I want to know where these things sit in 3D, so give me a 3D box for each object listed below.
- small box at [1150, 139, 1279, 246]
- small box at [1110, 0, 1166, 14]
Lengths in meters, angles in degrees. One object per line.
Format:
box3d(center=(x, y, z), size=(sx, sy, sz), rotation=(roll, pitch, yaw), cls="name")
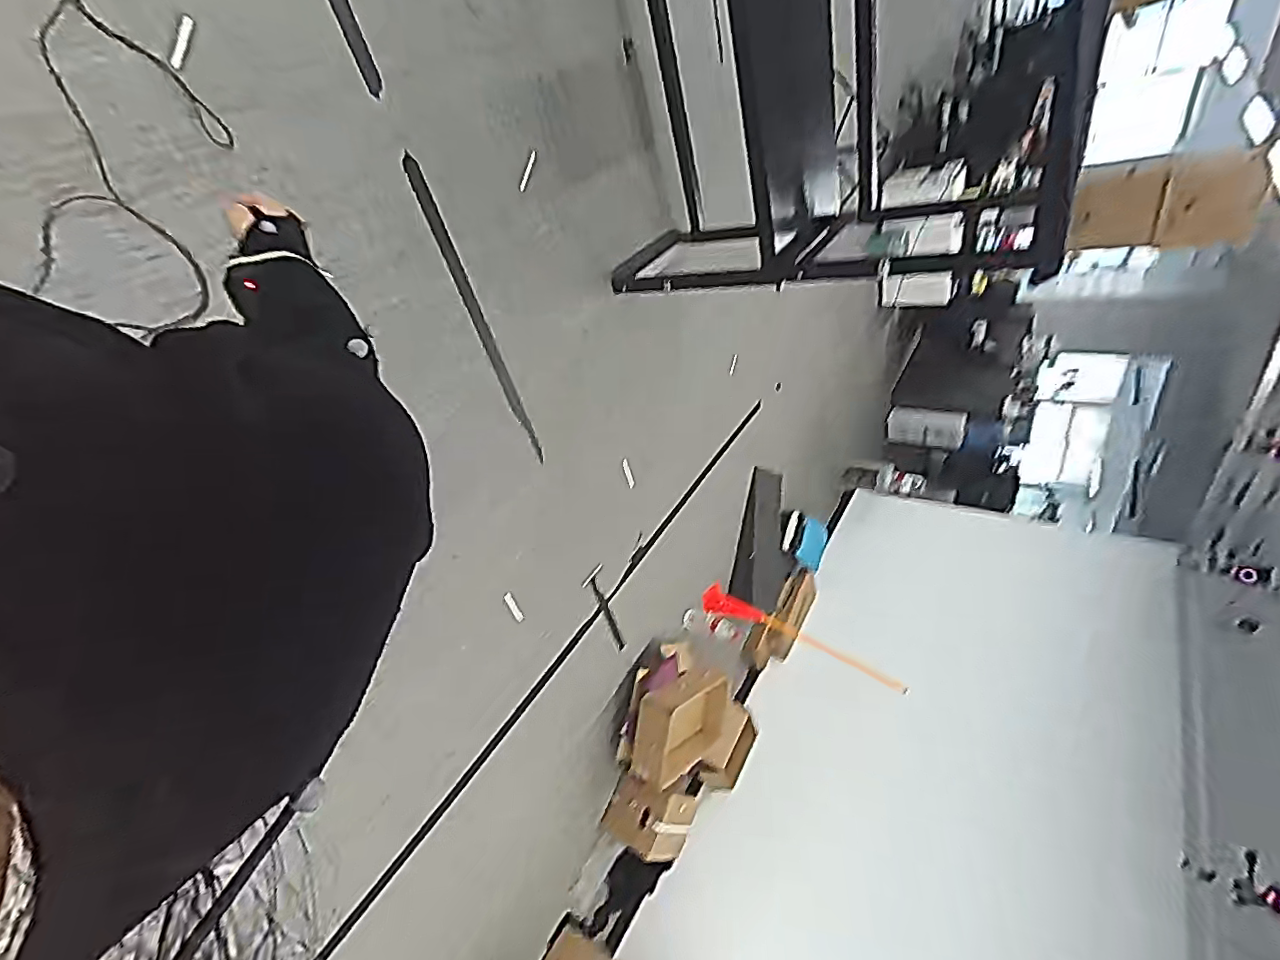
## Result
box3d(center=(1.282, -0.642, 1.217), size=(0.179, 0.176, 0.168), rotation=(-47, 133, -35), cls="small box")
box3d(center=(1.066, -1.070, 1.082), size=(0.179, 0.176, 0.168), rotation=(-51, 136, -36), cls="small box")
